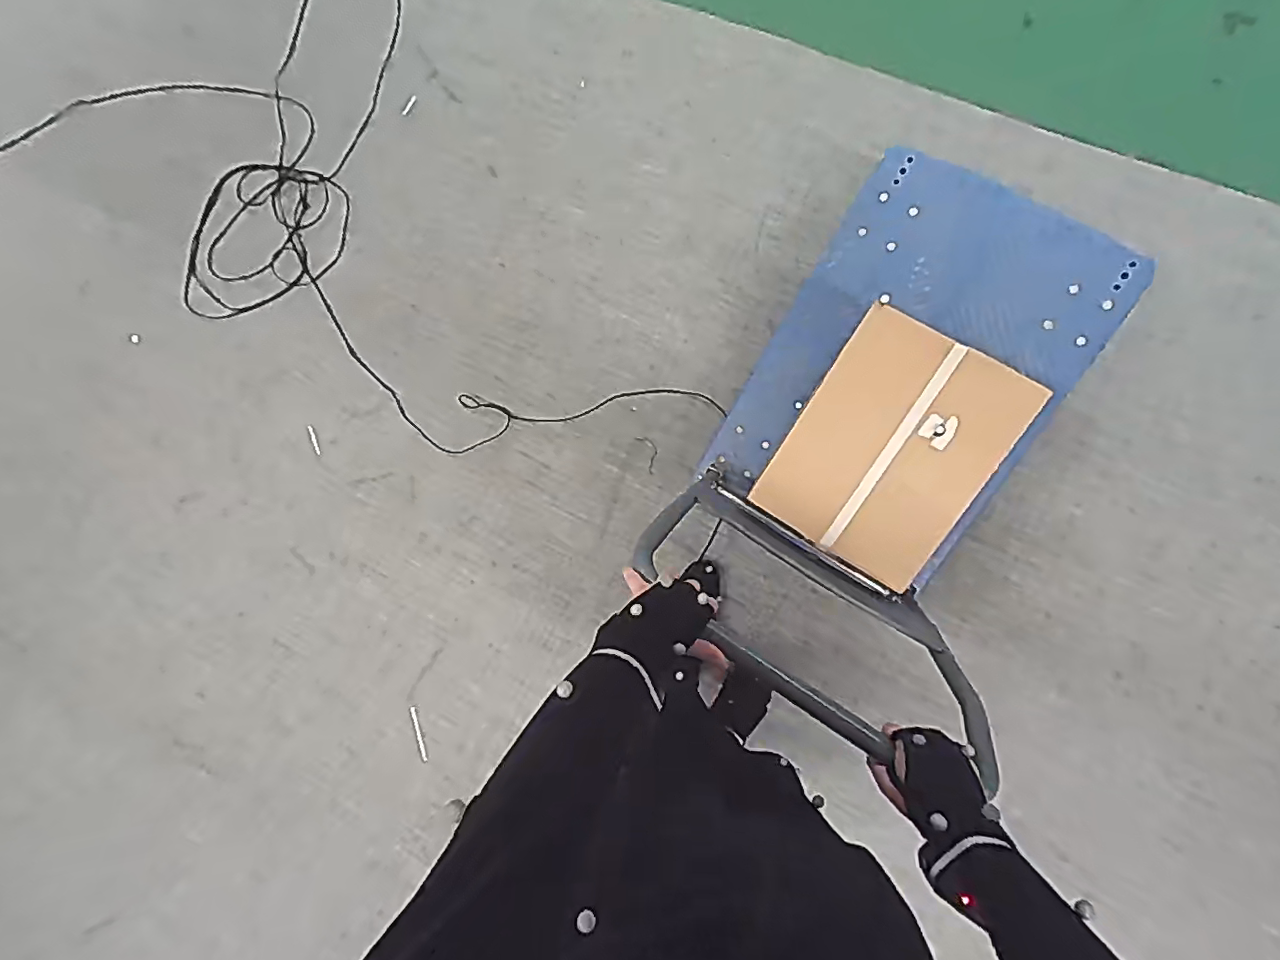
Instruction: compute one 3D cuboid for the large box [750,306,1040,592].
[{"bbox_3d":[0.456,-0.057,1.067,0.320,0.320,0.408,32,100,10],"label":"large box"}]
